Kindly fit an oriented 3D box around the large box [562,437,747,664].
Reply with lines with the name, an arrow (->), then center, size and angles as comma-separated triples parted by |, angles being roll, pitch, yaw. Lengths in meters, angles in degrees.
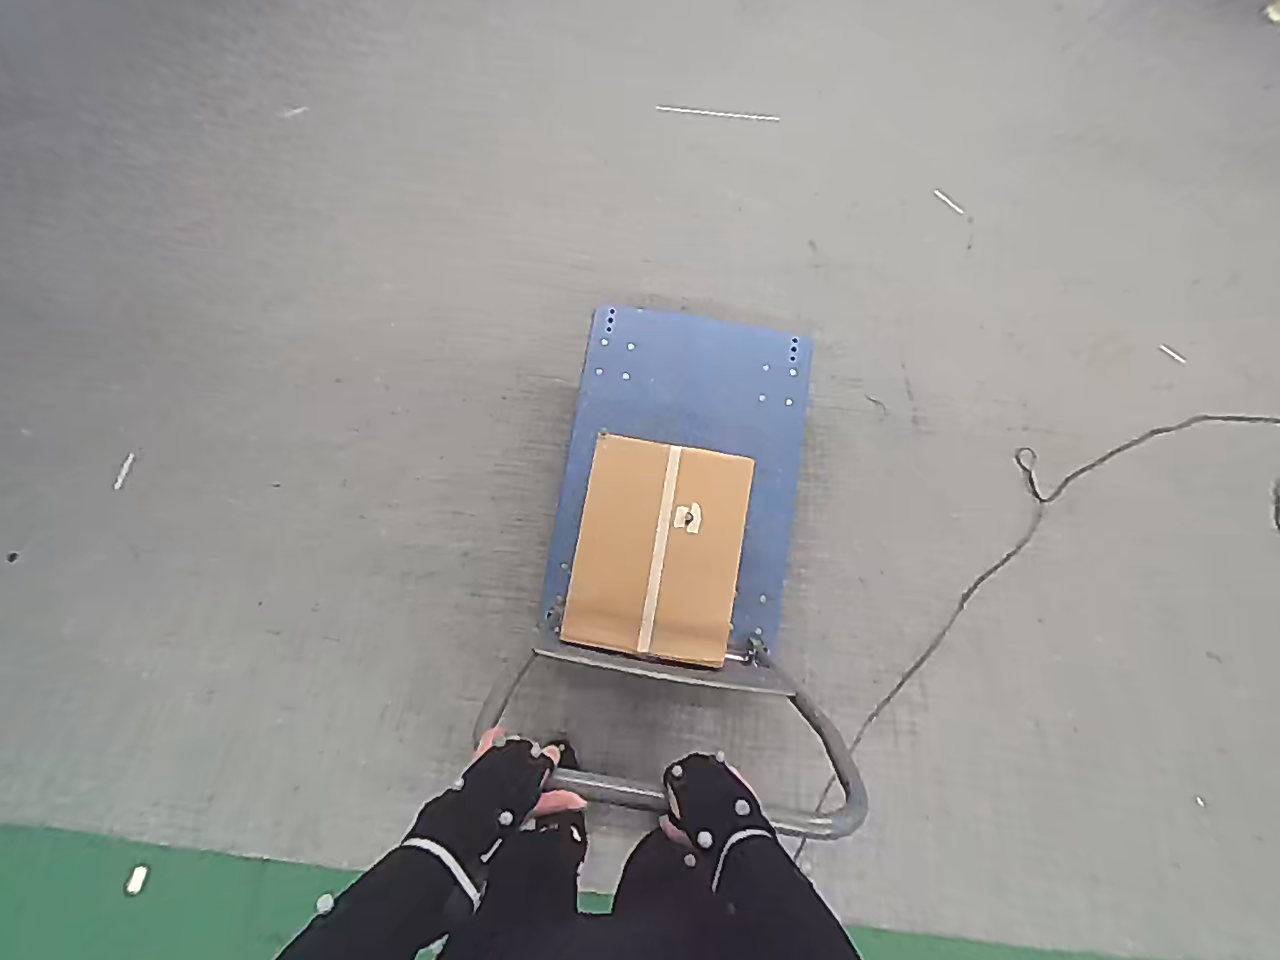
large box -> 0.032, 0.153, 1.190 | 0.320, 0.320, 0.408 | 10, 82, 0
